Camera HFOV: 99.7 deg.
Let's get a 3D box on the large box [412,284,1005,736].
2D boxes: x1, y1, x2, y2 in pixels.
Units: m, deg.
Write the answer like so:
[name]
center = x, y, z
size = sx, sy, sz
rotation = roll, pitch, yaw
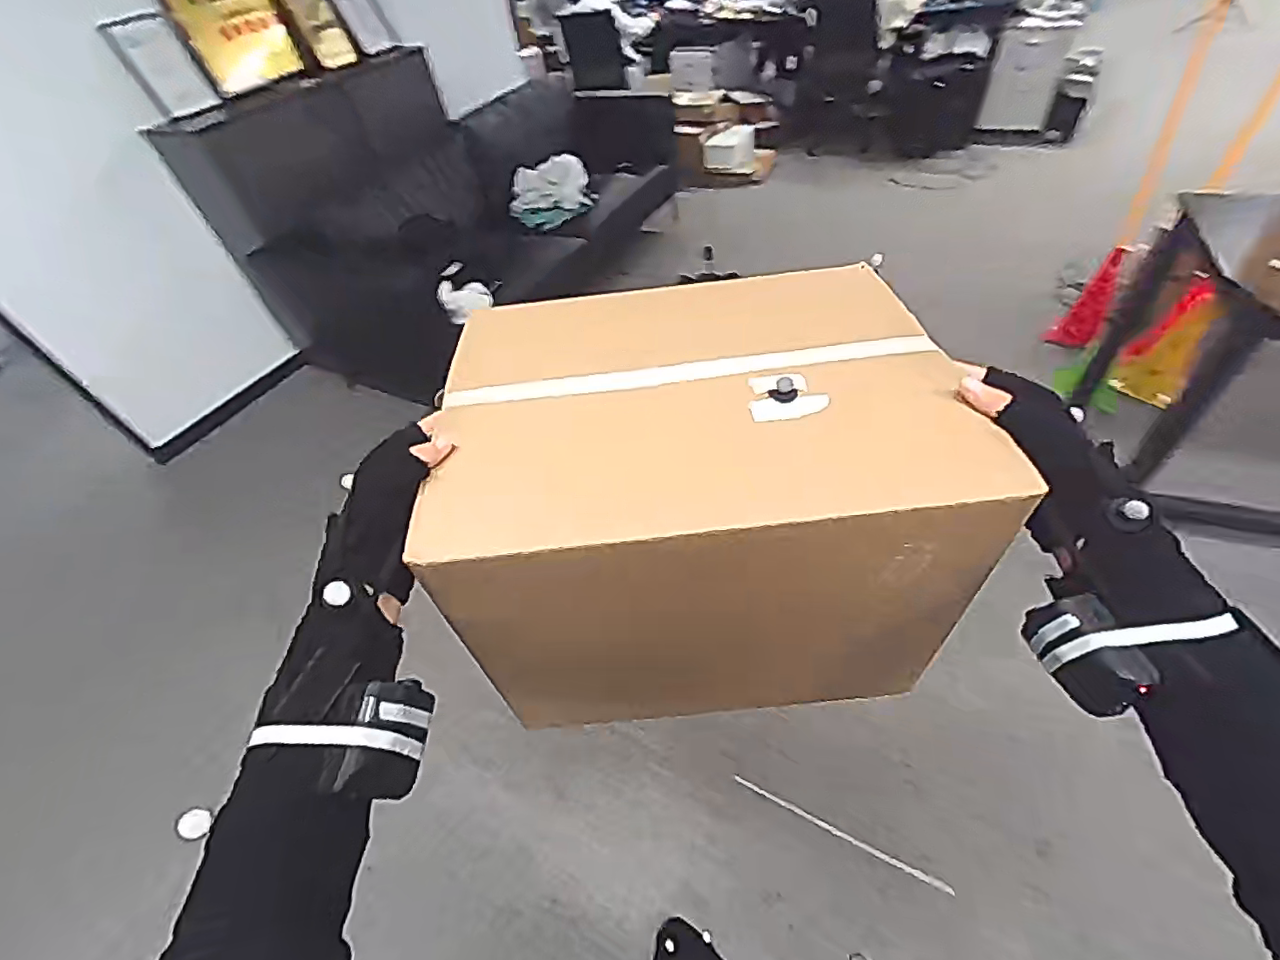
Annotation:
[large box]
center = 0.043, 0.033, 0.560
size = 0.408, 0.320, 0.320
rotation = -7, 47, 0
